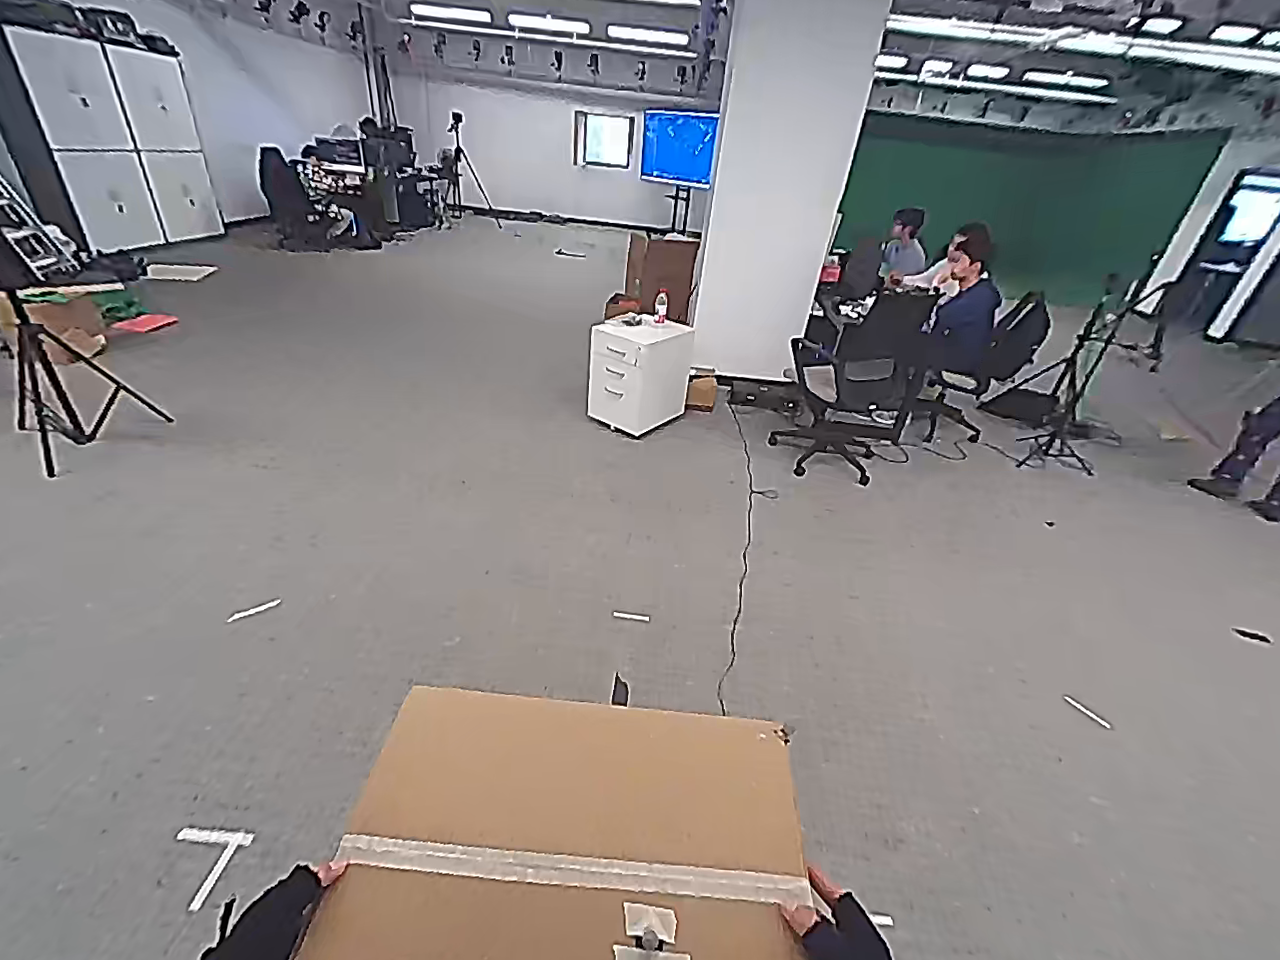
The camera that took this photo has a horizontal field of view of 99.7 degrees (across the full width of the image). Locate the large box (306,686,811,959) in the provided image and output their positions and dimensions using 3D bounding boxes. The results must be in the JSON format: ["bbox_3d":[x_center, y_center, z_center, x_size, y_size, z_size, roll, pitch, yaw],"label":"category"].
[{"bbox_3d":[-0.069,0.457,0.568,0.408,0.320,0.320,6,37,0],"label":"large box"}]
